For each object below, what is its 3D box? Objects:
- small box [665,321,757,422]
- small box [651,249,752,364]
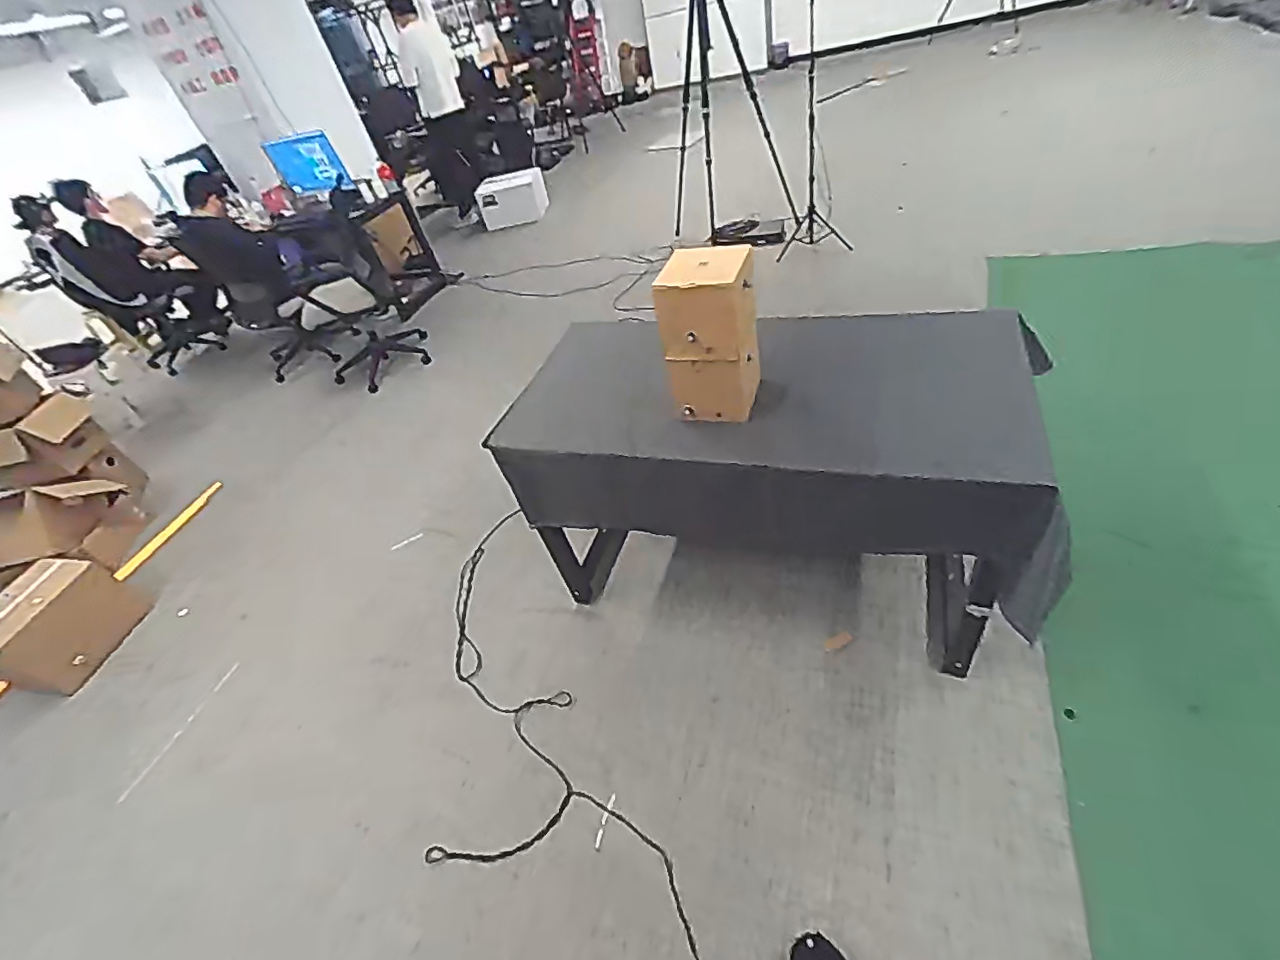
[{"bbox_3d":[0.173,-0.249,1.249,0.168,0.176,0.179,5,45,22],"label":"small box"},{"bbox_3d":[0.138,-0.364,1.140,0.168,0.176,0.179,5,47,22],"label":"small box"}]
